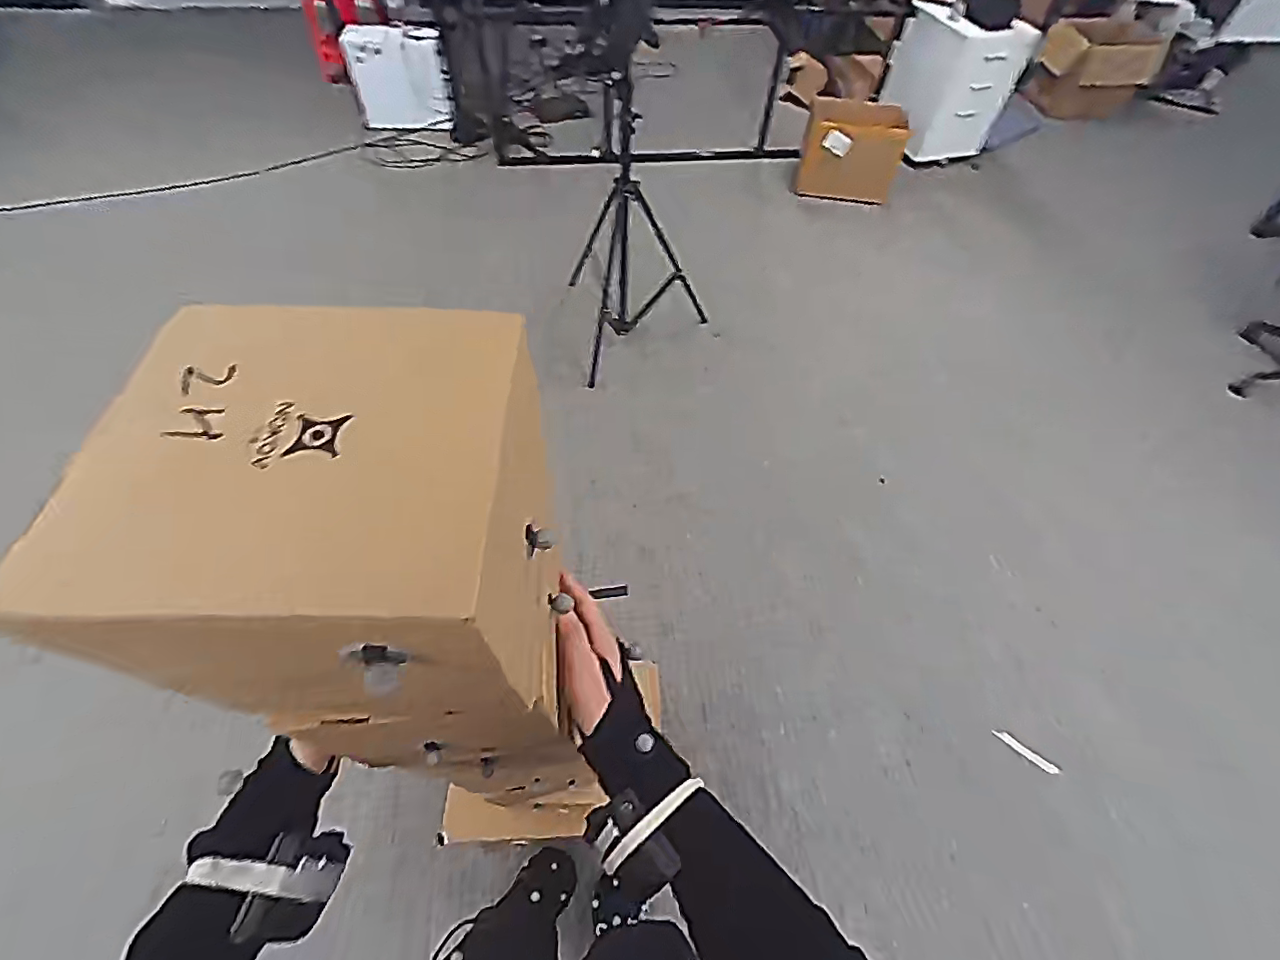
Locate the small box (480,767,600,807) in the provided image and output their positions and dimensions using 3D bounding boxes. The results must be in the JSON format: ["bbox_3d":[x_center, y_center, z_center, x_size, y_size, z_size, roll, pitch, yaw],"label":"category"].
[{"bbox_3d":[-0.159,0.395,0.848,0.168,0.176,0.179,-11,56,-11],"label":"small box"}]

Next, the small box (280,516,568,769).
[{"bbox_3d":[-0.147,0.121,0.441,0.168,0.176,0.179,-4,57,-6],"label":"small box"}]

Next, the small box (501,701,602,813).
[{"bbox_3d":[-0.160,0.499,0.974,0.179,0.176,0.168,2,56,-3],"label":"small box"}]

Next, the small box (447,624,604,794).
[{"bbox_3d":[-0.144,0.304,0.713,0.179,0.176,0.168,-5,56,-8],"label":"small box"}]

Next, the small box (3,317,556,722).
[{"bbox_3d":[-0.143,0.032,0.303,0.179,0.176,0.168,0,56,-3],"label":"small box"}]
